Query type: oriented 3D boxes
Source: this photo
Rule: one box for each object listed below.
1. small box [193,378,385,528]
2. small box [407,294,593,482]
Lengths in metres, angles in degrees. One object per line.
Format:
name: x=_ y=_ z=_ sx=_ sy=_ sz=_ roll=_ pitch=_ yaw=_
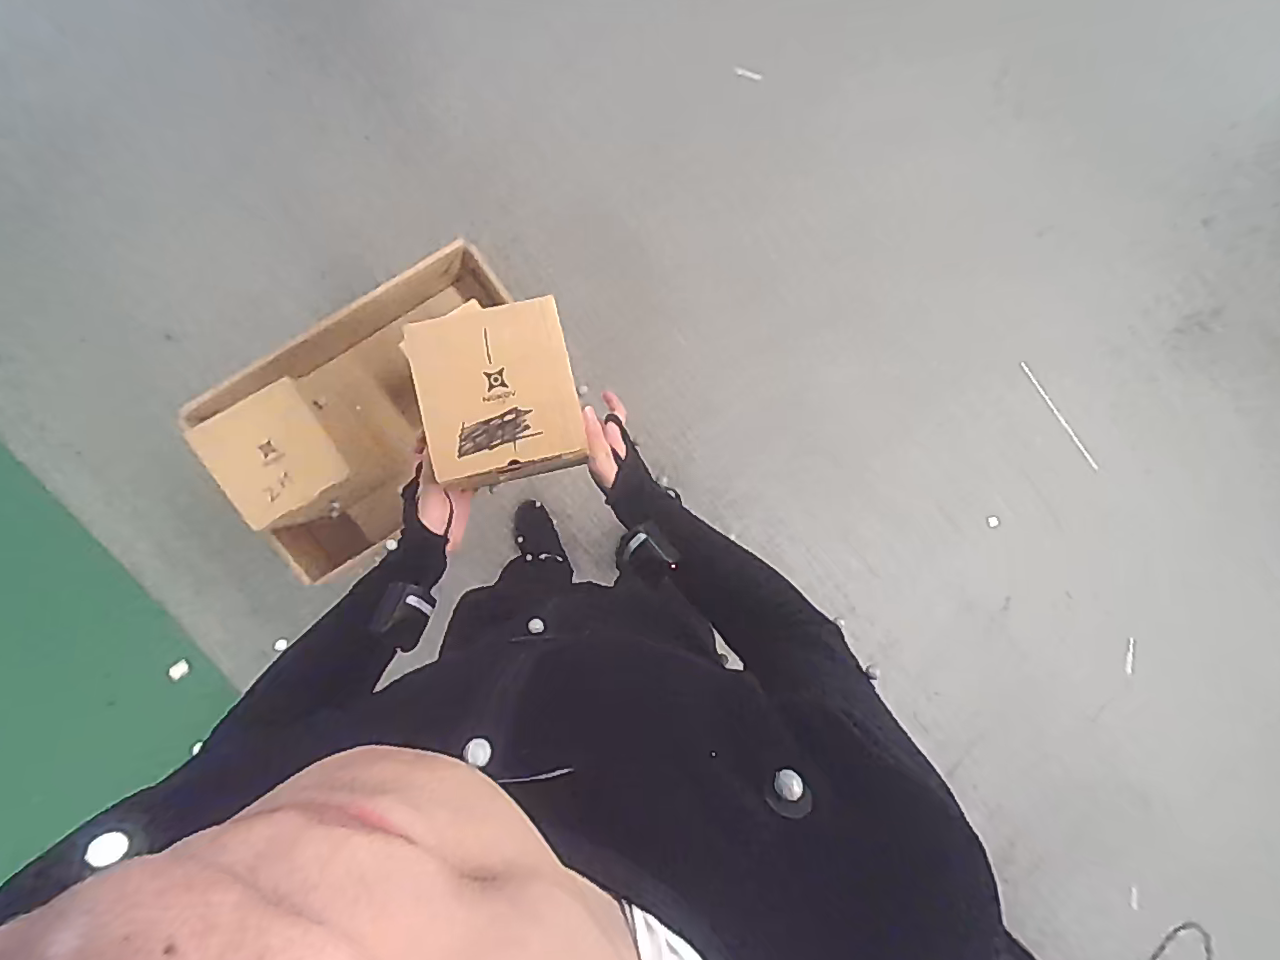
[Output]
small box: x=-0.558 y=-0.040 z=0.887 sx=0.168 sy=0.176 sz=0.179 roll=-33 pitch=96 yaw=-7
small box: x=-0.152 y=-0.097 z=0.649 sx=0.168 sy=0.176 sz=0.179 roll=-12 pitch=88 yaw=-5
